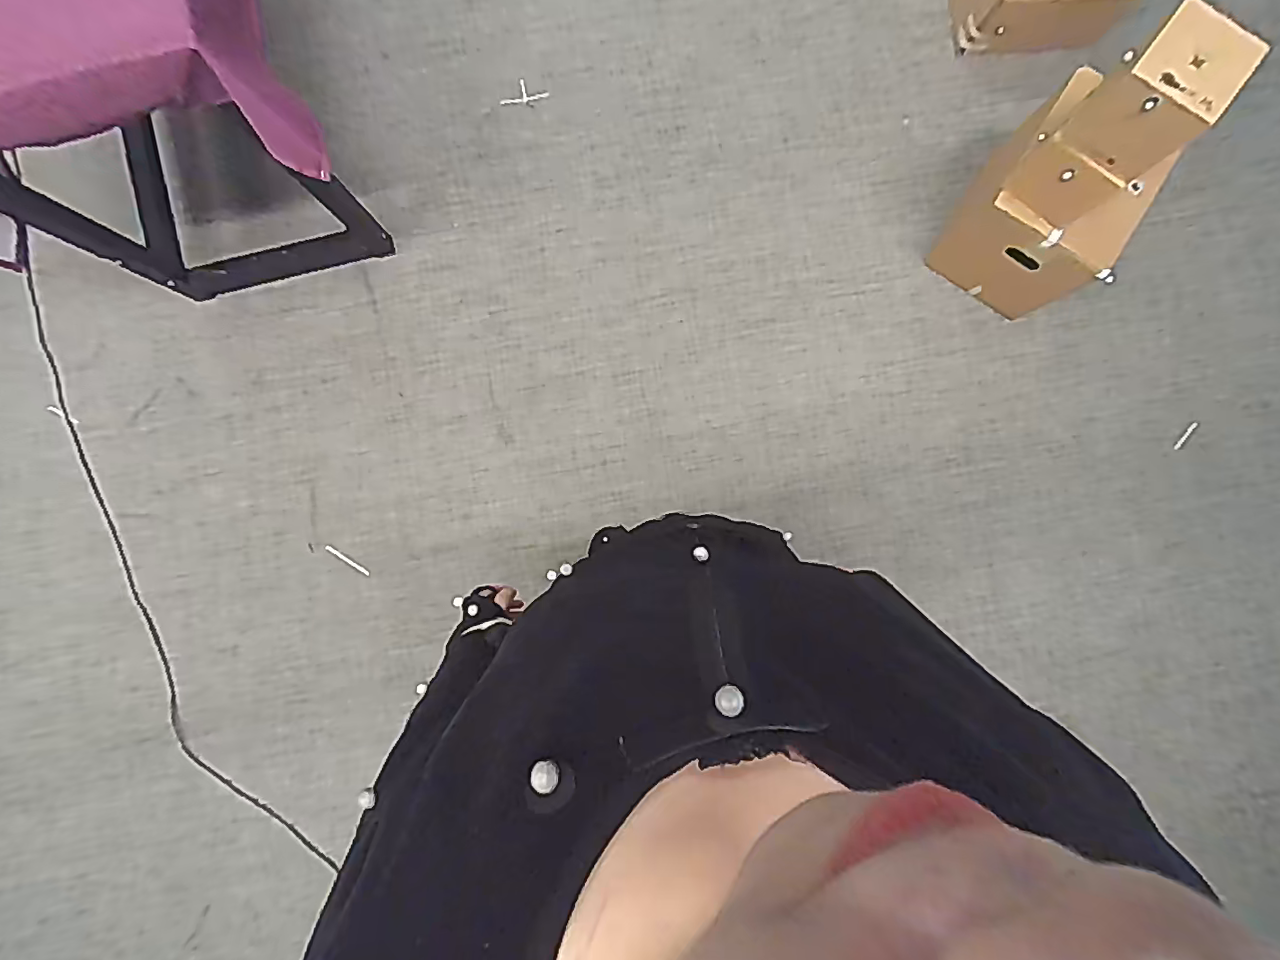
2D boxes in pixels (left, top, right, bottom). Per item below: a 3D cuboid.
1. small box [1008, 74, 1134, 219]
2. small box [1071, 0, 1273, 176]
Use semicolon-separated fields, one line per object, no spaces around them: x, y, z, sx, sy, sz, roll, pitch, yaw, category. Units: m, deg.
0.955;-0.697;1.159;0.179;0.176;0.168;42;89;4;small box
0.959;-0.716;0.995;0.168;0.176;0.179;38;88;4;small box
